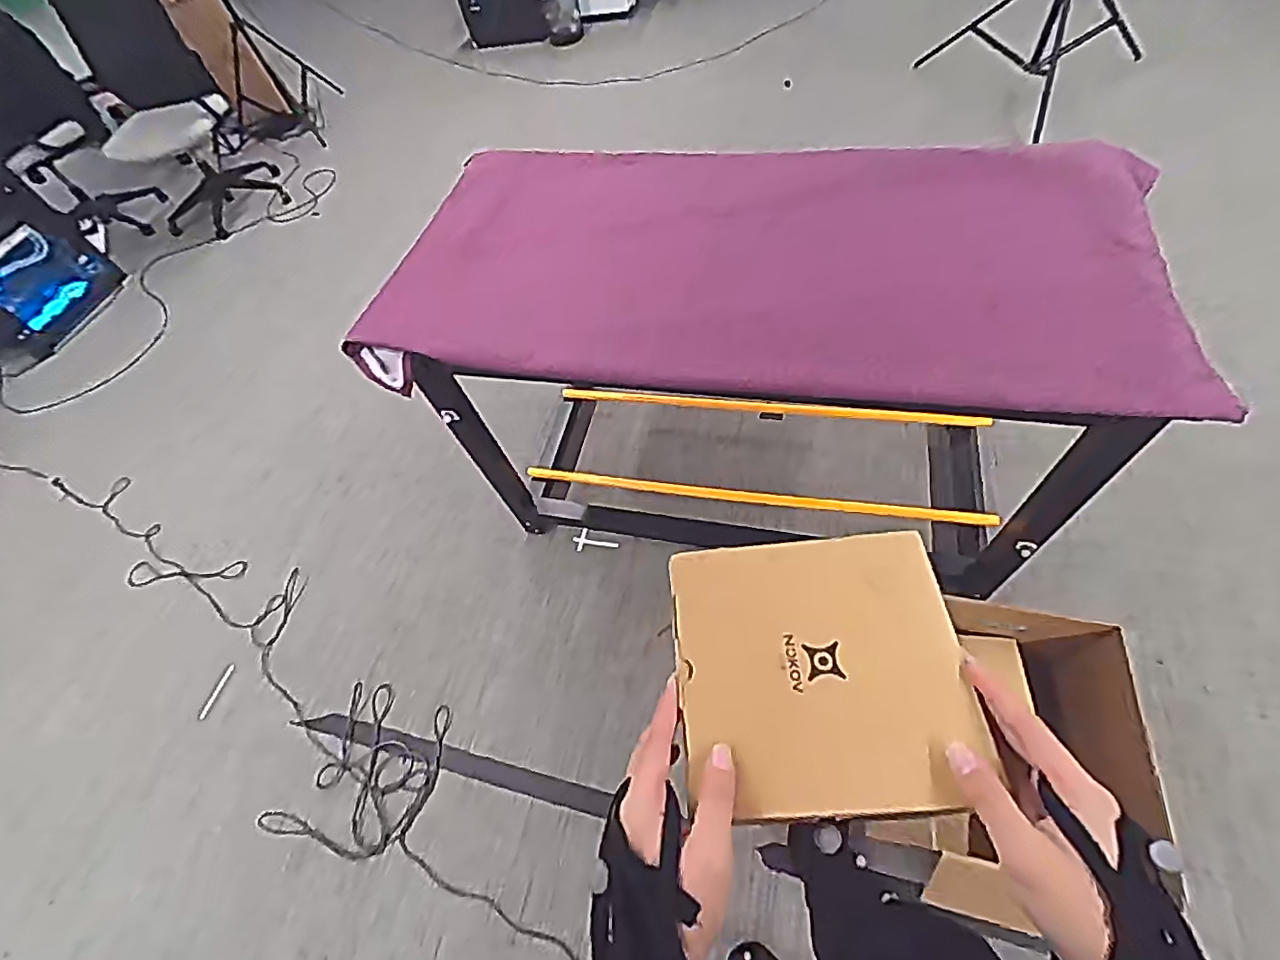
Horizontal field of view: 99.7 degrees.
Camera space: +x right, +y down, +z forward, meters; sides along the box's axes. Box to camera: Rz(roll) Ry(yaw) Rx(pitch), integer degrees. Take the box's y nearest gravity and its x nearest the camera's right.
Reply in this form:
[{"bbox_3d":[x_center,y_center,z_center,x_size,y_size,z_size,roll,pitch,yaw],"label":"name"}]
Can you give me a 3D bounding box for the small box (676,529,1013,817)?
[{"bbox_3d":[0.124,0.153,0.406,0.179,0.176,0.168,-7,57,6],"label":"small box"}]
